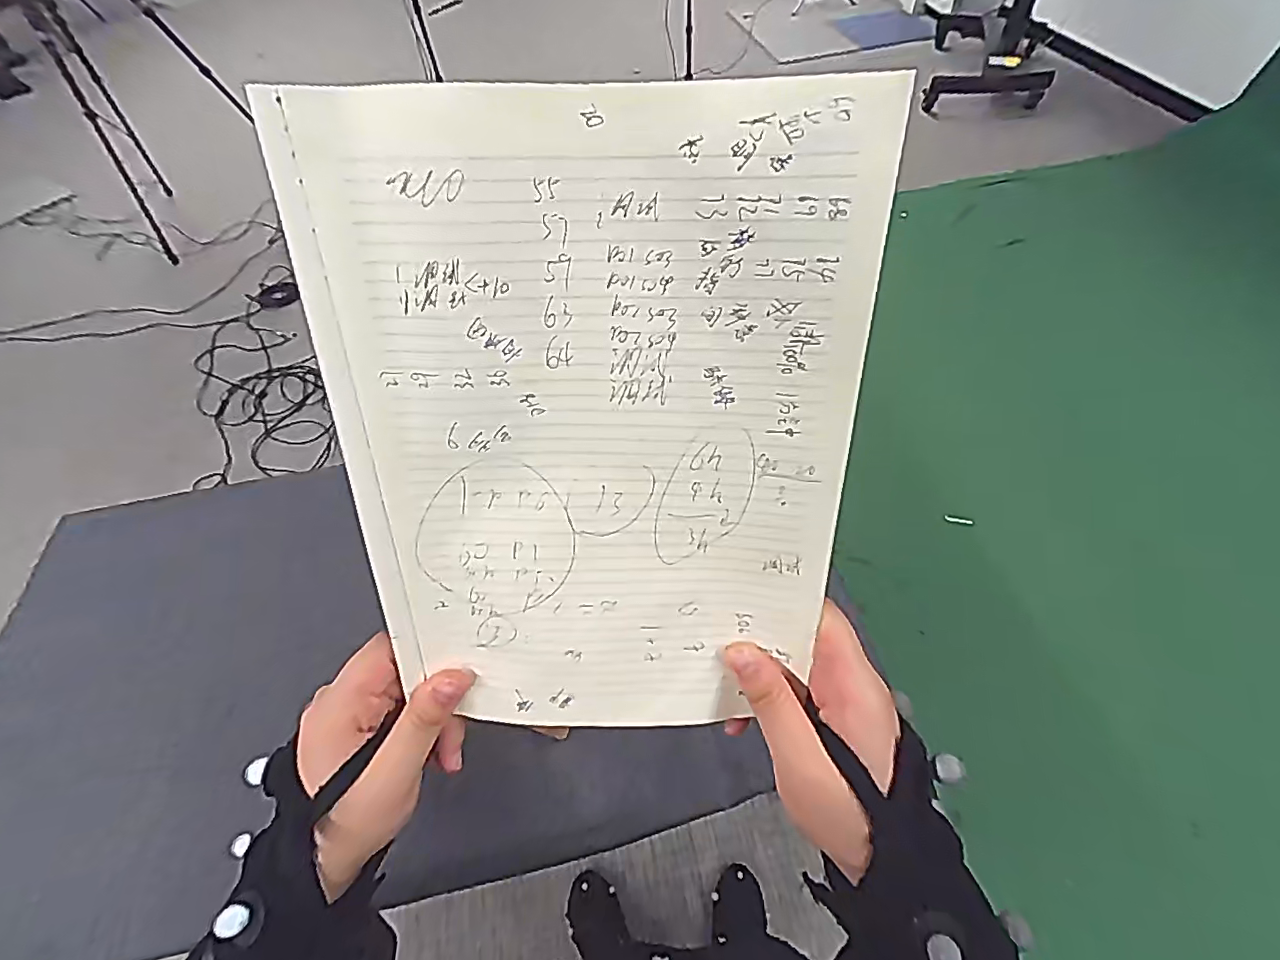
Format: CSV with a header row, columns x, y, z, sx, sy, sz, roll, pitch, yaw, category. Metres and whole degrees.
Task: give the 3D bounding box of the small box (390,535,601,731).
x,y,z,sx,sy,sz,roll,pitch,yaw,category
-0.158,0.194,0.668,0.179,0.176,0.168,11,57,13,small box
